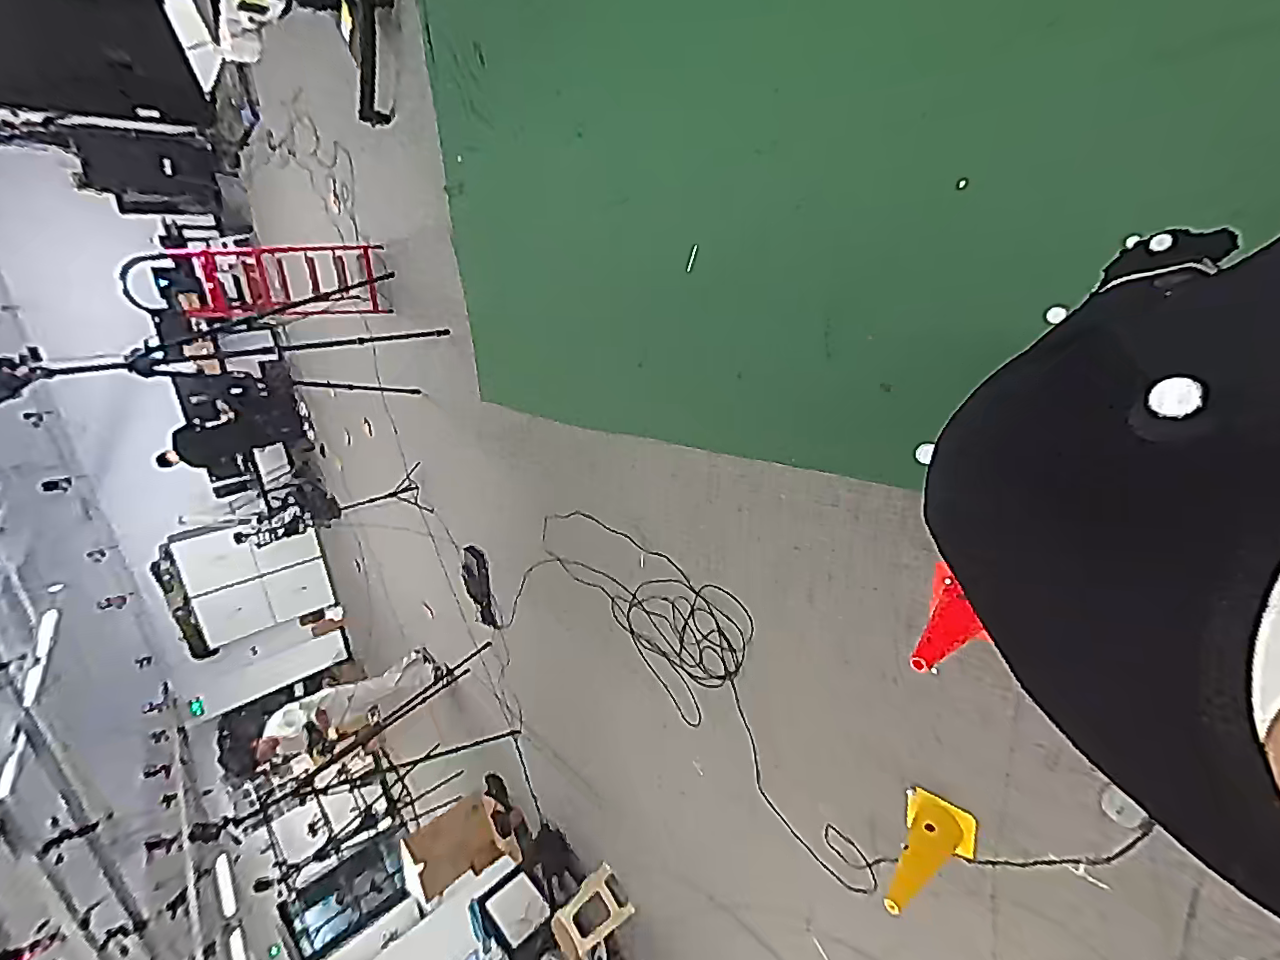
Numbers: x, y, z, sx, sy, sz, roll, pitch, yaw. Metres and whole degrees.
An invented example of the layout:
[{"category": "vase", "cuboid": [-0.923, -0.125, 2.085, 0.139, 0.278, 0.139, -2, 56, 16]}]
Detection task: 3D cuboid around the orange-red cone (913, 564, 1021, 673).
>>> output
[{"category": "orange-red cone", "cuboid": [0.788, 0.388, 1.368, 0.198, 0.360, 0.199, 17, 119, 46]}]
